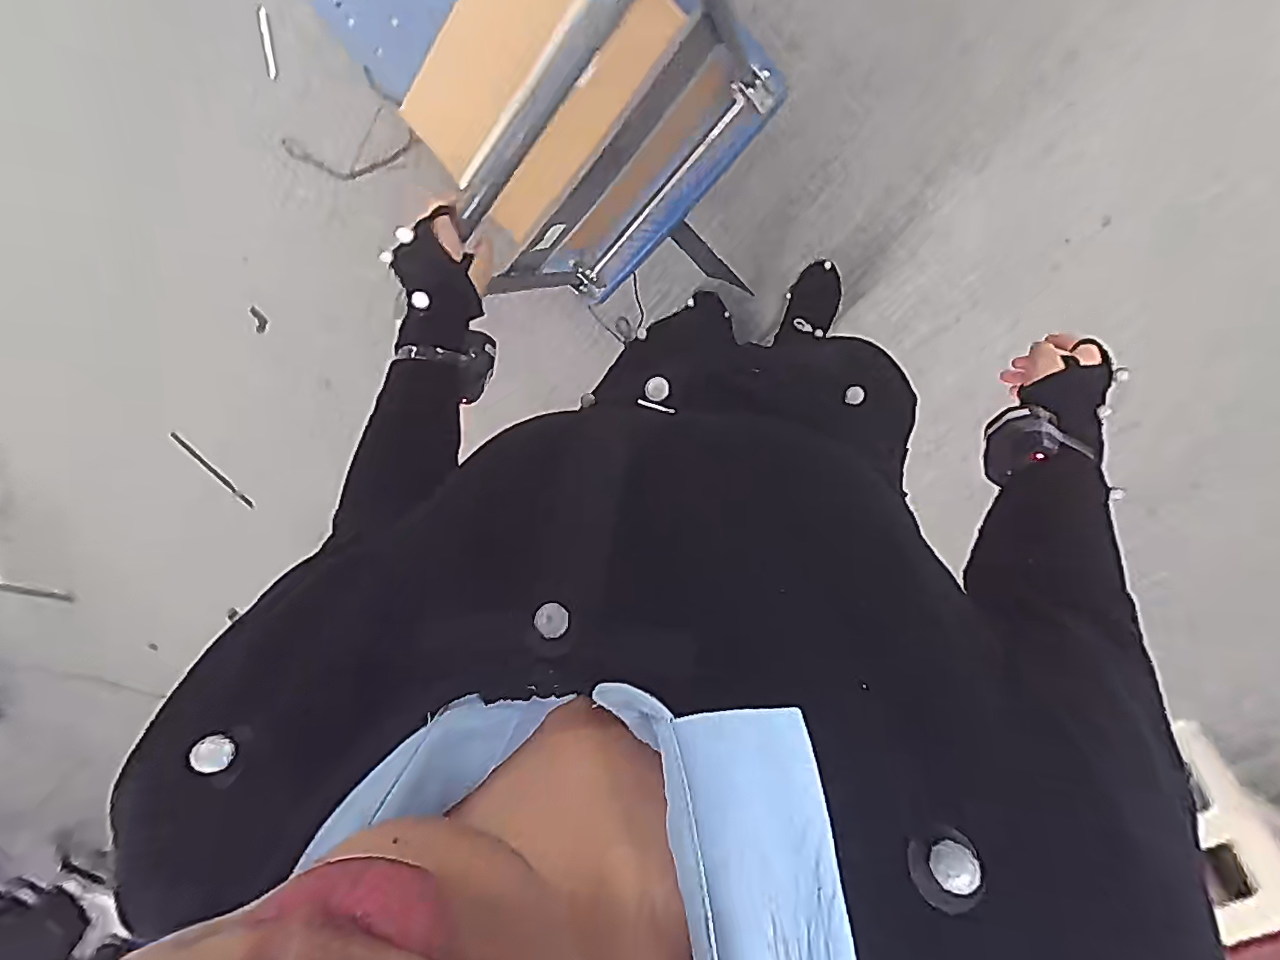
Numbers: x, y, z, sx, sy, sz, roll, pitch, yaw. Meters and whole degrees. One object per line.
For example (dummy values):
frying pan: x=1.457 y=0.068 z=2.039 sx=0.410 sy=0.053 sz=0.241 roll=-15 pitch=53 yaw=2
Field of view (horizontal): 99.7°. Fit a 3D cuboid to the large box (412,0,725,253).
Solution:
large box: x=-0.111 y=-0.669 z=0.962 sx=0.408 sy=0.320 sz=0.320 roll=-40 pitch=99 yaw=27
